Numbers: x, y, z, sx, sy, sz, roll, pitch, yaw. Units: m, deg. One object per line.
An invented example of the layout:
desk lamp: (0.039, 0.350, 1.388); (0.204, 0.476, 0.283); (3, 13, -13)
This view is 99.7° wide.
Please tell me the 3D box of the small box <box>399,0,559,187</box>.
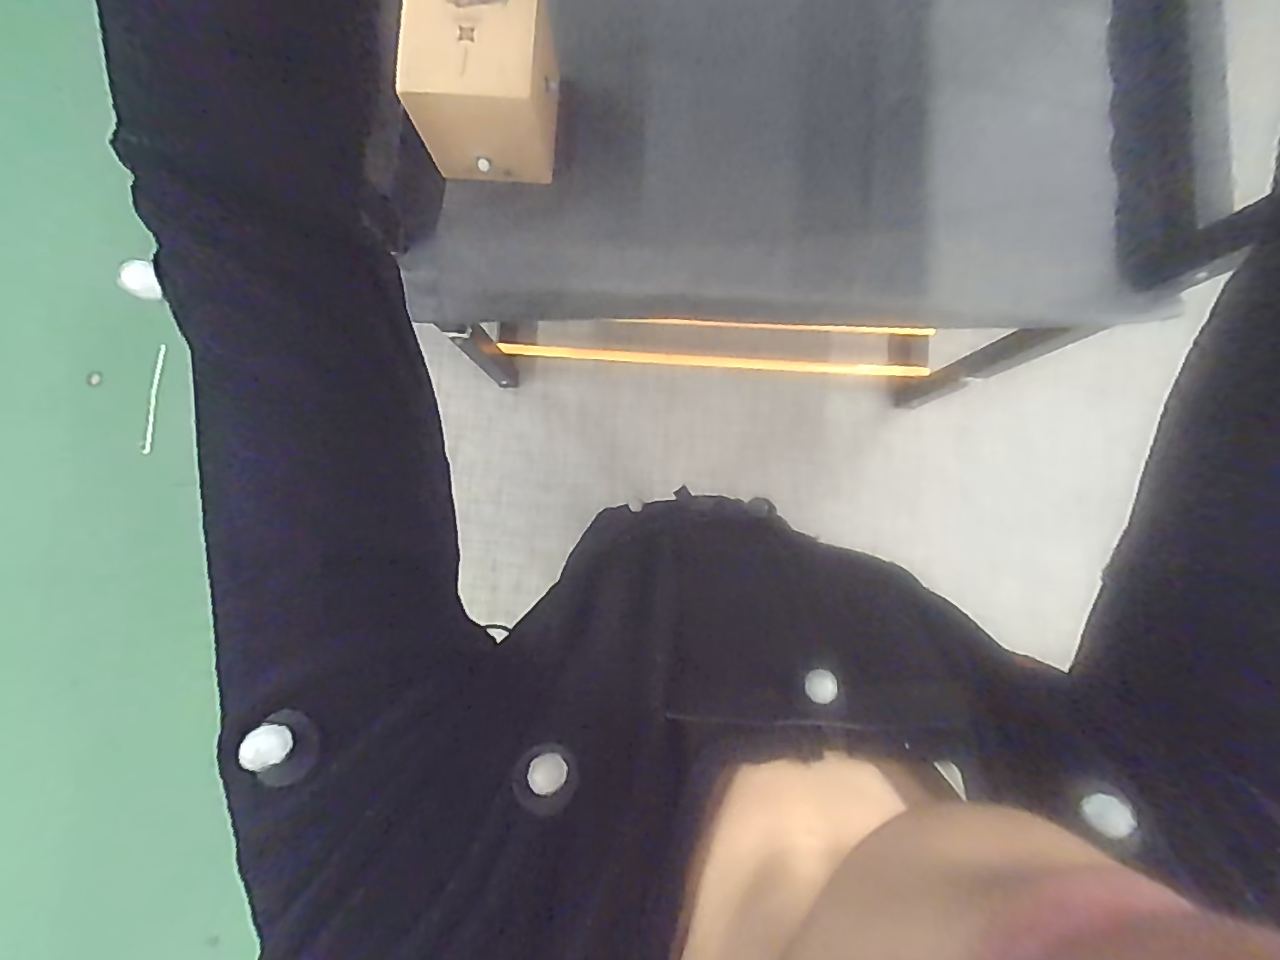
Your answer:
small box: (-0.207, -0.541, 0.742); (0.168, 0.176, 0.179); (3, 85, 0)
